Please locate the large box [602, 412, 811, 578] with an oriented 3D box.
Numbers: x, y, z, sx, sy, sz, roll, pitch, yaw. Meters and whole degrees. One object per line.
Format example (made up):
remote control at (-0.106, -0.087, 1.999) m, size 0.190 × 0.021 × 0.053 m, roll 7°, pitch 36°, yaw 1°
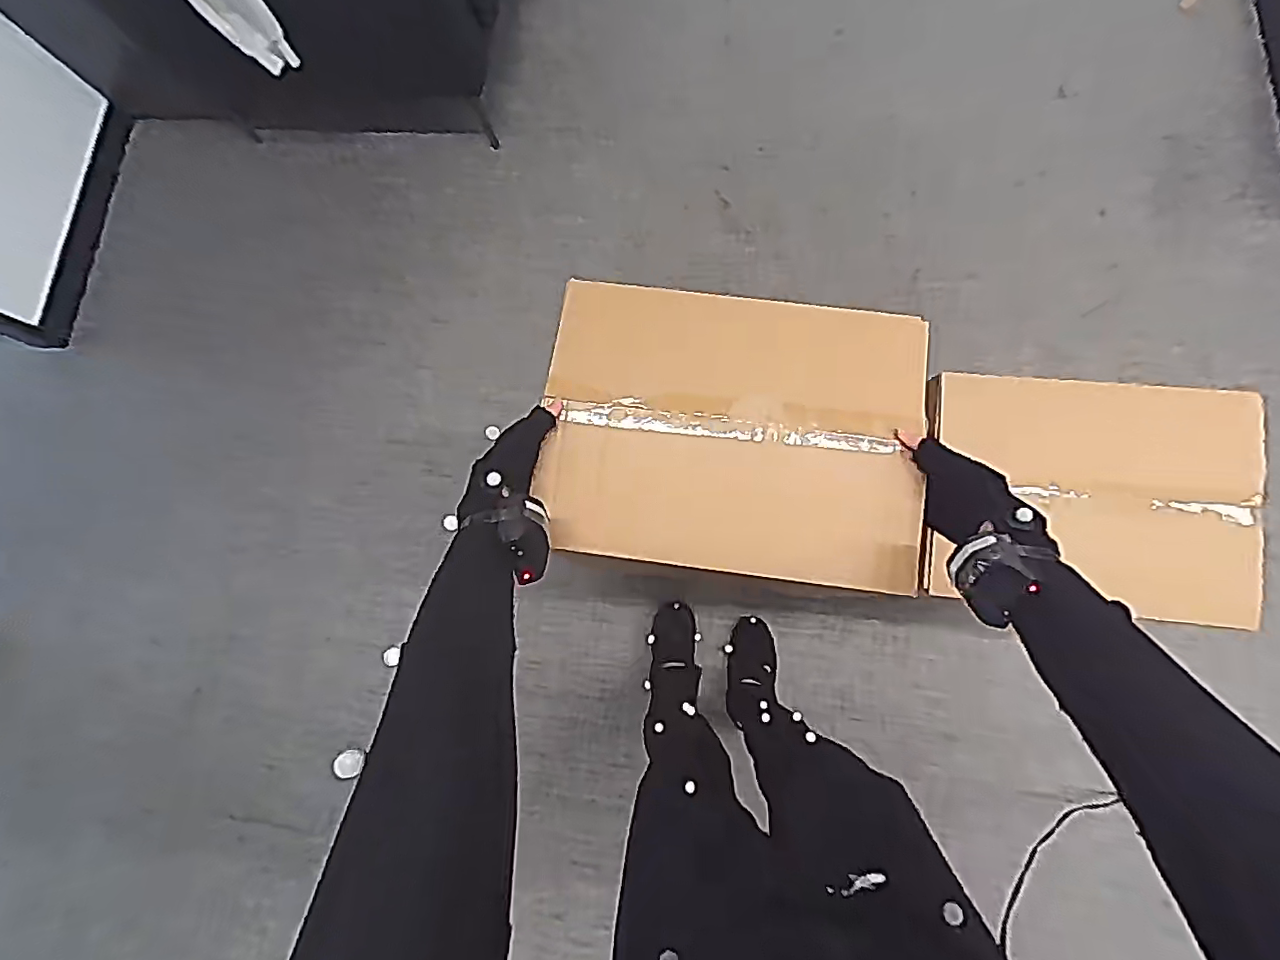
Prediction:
large box at (0.154, 0.048, 1.232) m, size 0.408 × 0.320 × 0.320 m, roll 6°, pitch 79°, yaw 8°
